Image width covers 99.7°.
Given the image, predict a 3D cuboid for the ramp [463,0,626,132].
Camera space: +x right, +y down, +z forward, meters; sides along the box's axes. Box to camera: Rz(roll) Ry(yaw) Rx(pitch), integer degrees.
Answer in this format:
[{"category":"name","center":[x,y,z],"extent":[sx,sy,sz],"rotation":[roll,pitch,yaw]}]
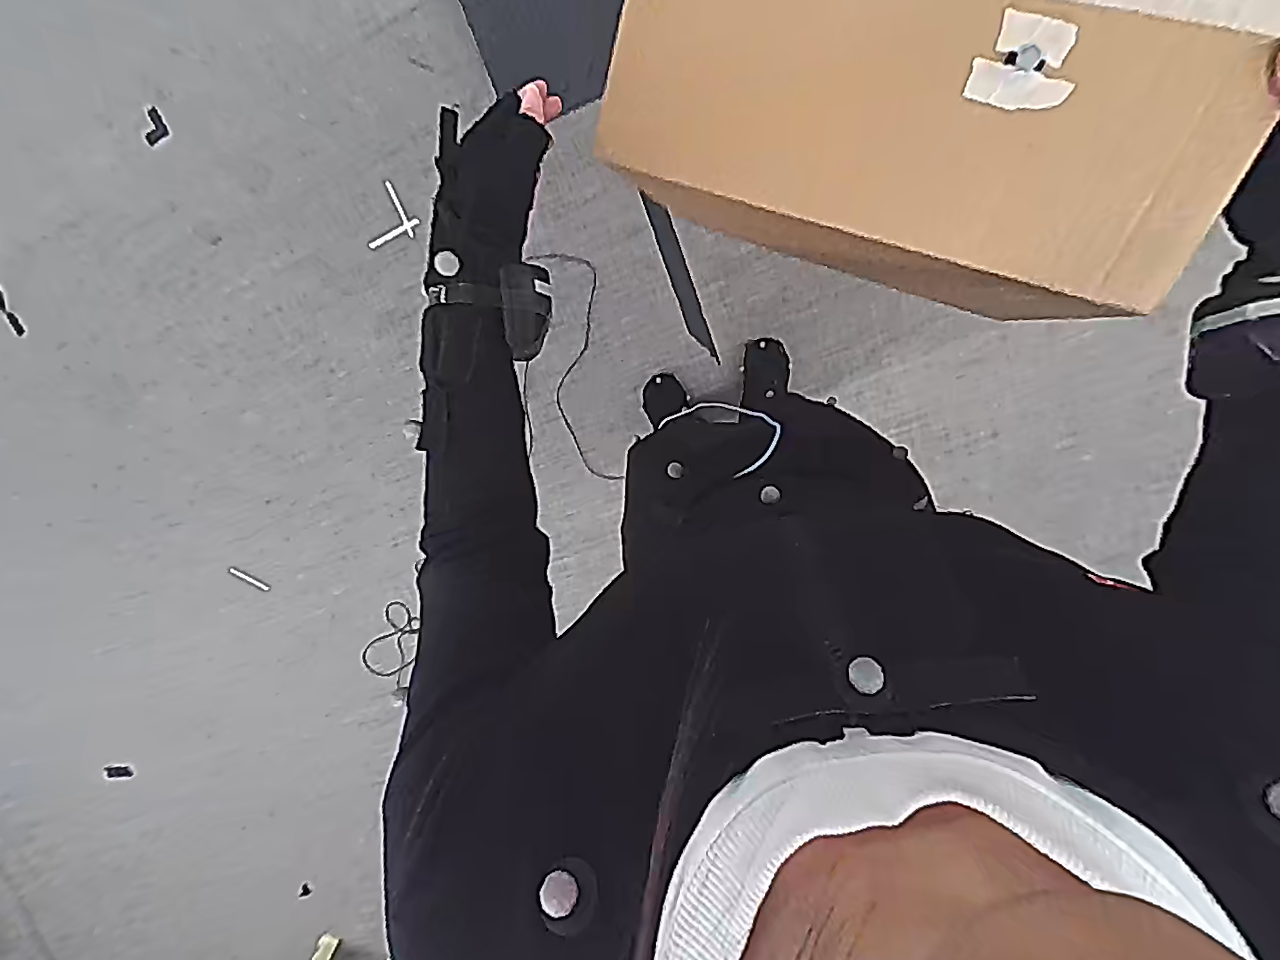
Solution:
[{"category":"ramp","center":[-0.239,-1.318,1.044],"extent":[0.509,0.206,0.991],"rotation":[-19,104,11]}]

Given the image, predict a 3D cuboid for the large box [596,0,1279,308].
[{"category":"large box","center":[0.226,-0.360,0.474],"extent":[0.408,0.320,0.320],"rotation":[21,112,11]}]
